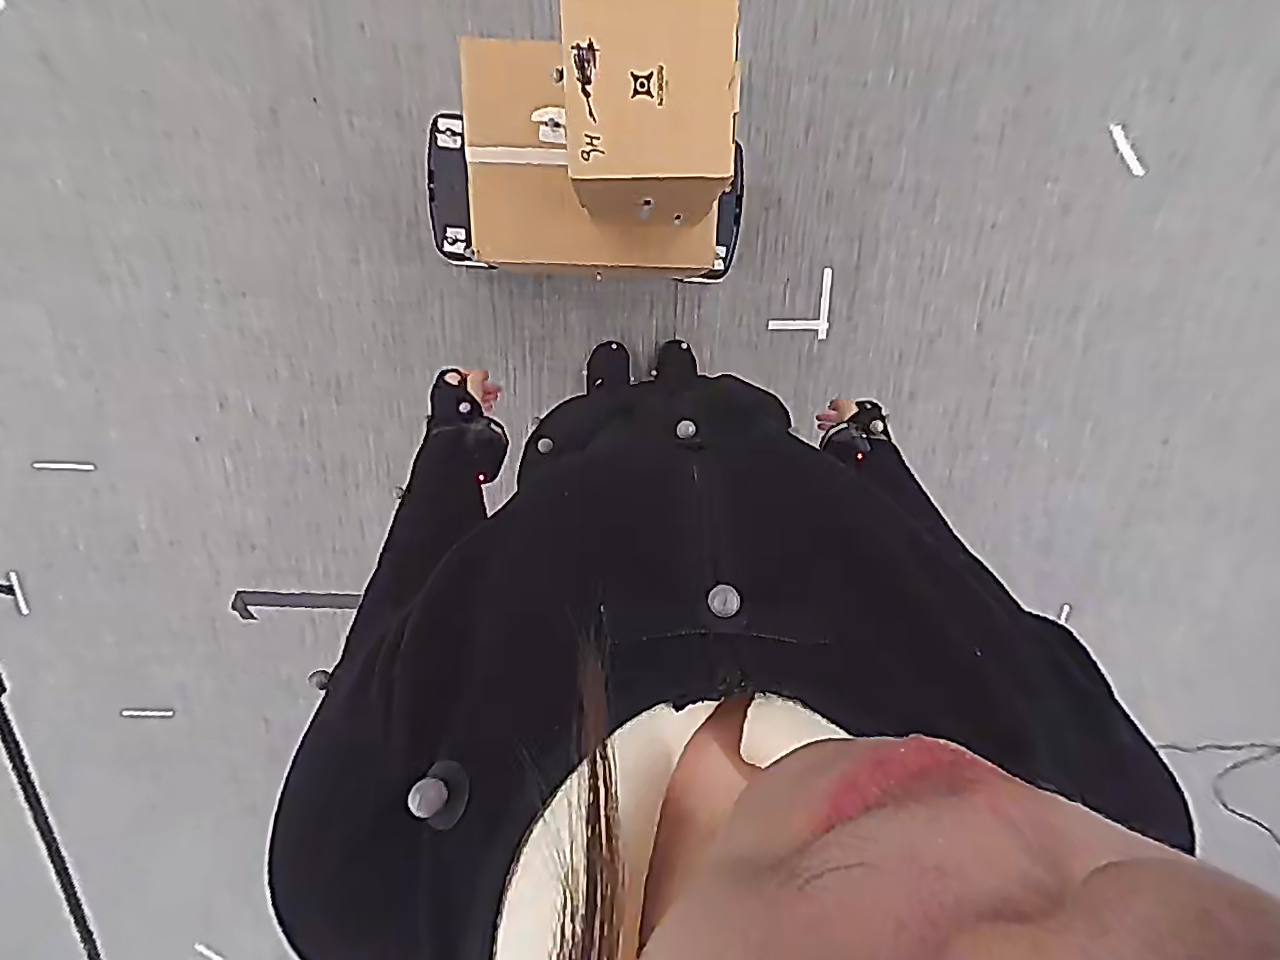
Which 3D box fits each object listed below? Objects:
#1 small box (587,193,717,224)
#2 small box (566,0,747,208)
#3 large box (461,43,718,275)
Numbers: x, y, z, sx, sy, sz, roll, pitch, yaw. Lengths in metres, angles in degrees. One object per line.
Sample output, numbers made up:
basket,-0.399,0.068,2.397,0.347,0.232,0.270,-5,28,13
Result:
small box,0.013,-0.466,0.764,0.179,0.176,0.168,0,107,-1
small box,0.011,-0.414,0.608,0.179,0.176,0.168,-1,106,-2
large box,-0.073,-0.547,0.992,0.408,0.320,0.320,1,106,-1
